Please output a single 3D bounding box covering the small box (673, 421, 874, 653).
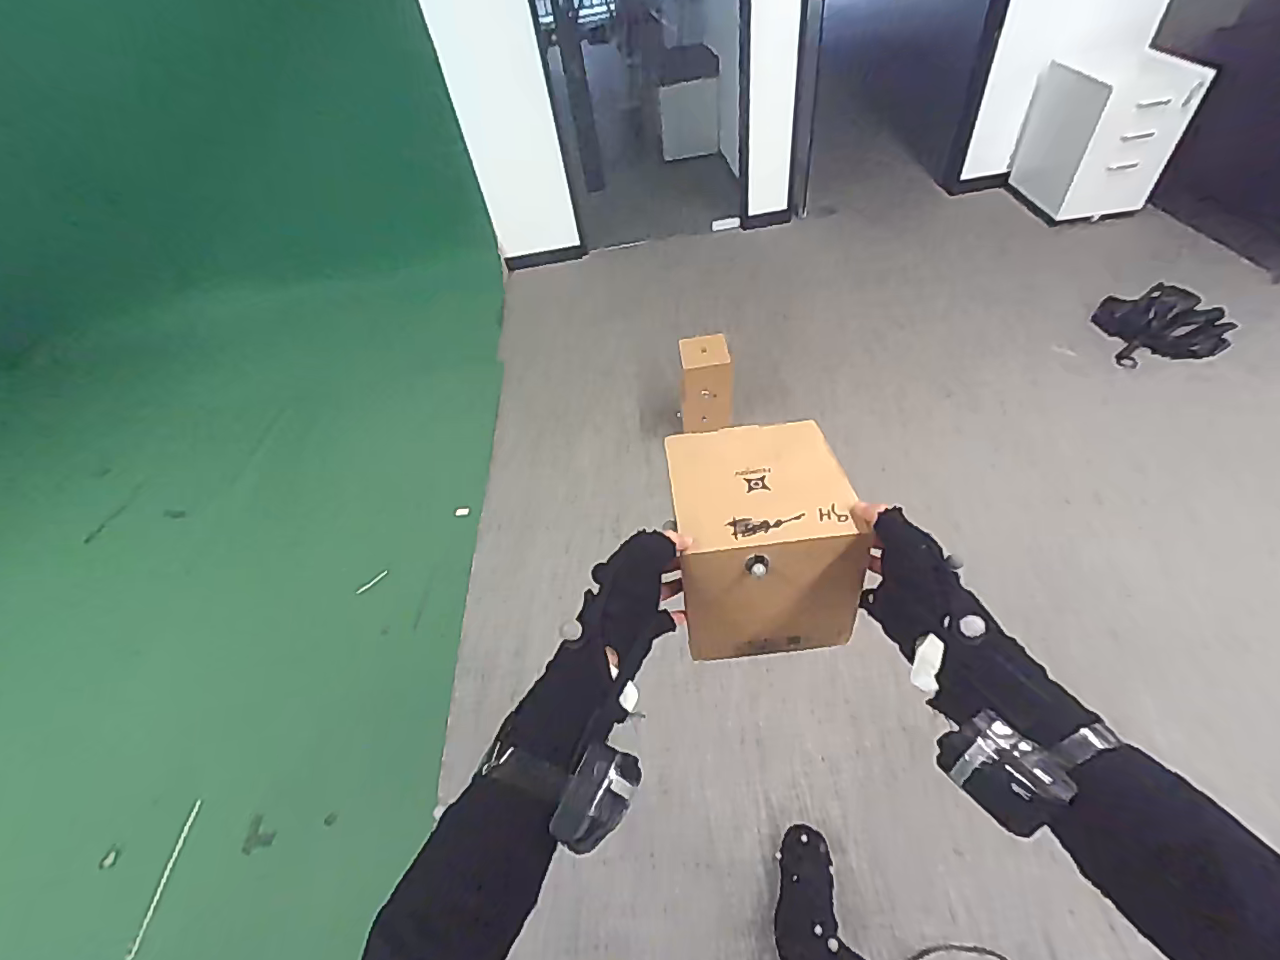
[{"bbox_3d":[0.128,0.059,0.584,0.168,0.176,0.179,-7,38,3],"label":"small box"}]

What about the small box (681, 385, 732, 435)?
[{"bbox_3d":[0.256,-0.255,2.069,0.179,0.176,0.168,-8,47,5],"label":"small box"}]

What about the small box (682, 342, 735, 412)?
[{"bbox_3d":[0.248,-0.371,1.957,0.168,0.176,0.179,-9,47,5],"label":"small box"}]
